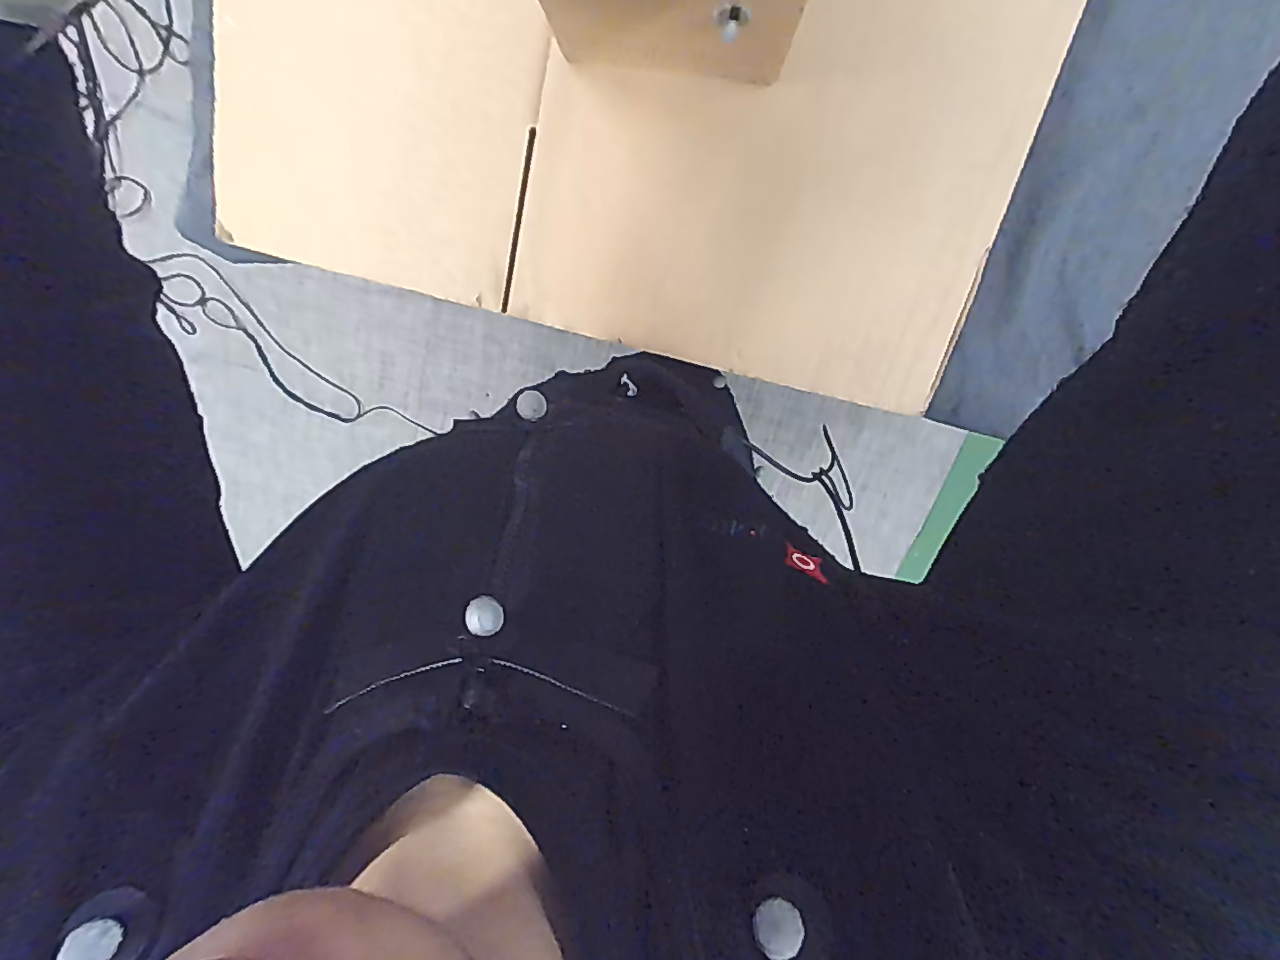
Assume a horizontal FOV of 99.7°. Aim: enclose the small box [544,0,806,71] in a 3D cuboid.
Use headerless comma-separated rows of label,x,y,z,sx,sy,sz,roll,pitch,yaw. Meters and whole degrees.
small box,0.029,-0.382,0.327,0.179,0.176,0.168,8,106,3
